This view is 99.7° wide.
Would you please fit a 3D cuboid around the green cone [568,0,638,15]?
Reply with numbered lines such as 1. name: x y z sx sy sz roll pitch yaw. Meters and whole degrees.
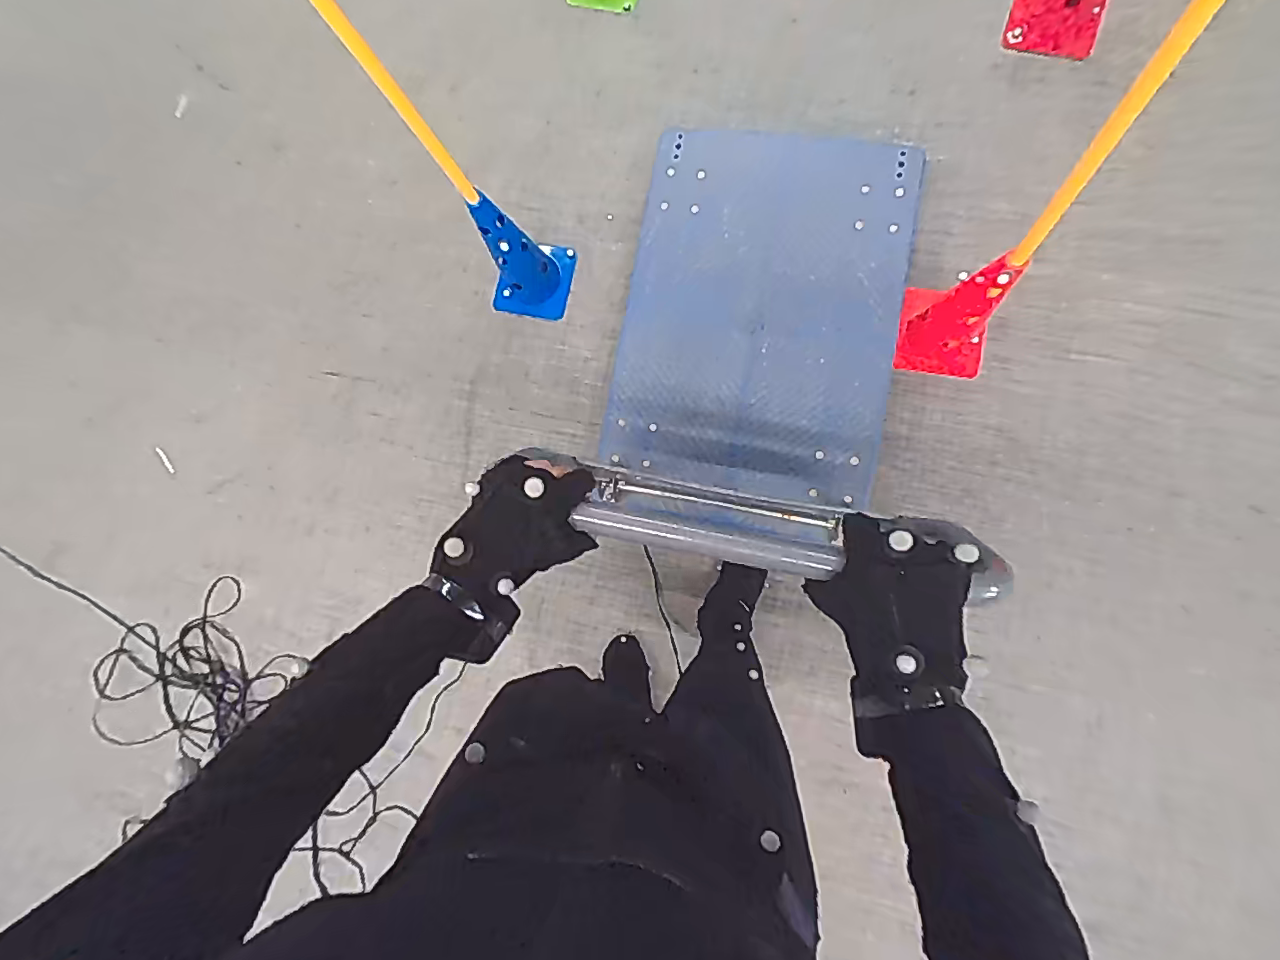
1. green cone: -0.110 -1.400 1.321 0.202 0.368 0.200 17 87 10

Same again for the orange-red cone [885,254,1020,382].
1. orange-red cone: 0.668 -0.355 1.112 0.199 0.360 0.198 12 86 11
